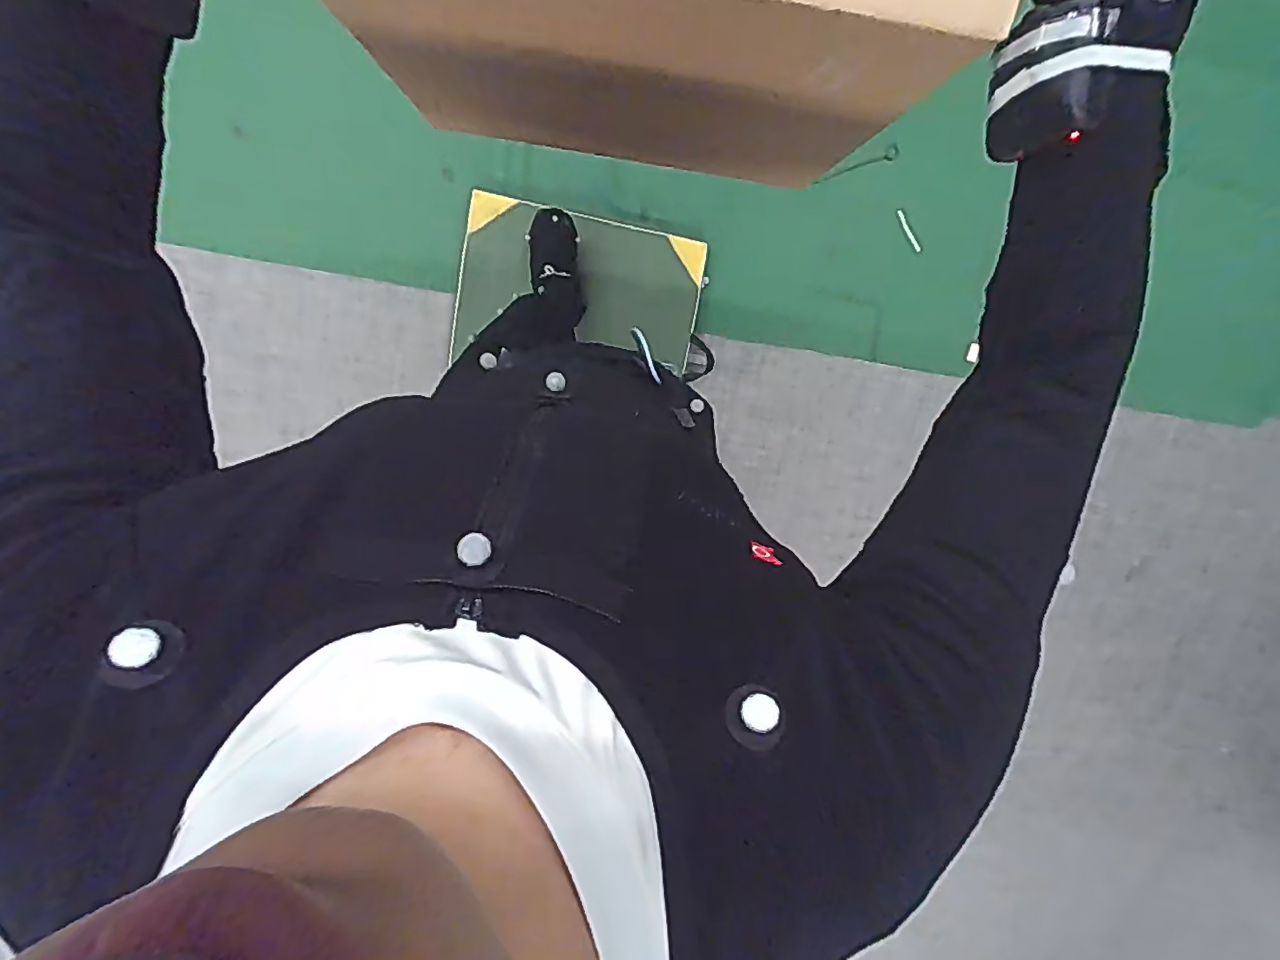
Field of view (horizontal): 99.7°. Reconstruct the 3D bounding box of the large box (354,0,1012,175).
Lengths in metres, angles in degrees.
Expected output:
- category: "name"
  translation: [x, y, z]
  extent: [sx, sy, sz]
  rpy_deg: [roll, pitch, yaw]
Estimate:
- category: "large box"
  translation: [0.015, -0.457, 0.392]
  extent: [0.408, 0.320, 0.320]
  rpy_deg: [6, 105, -6]
